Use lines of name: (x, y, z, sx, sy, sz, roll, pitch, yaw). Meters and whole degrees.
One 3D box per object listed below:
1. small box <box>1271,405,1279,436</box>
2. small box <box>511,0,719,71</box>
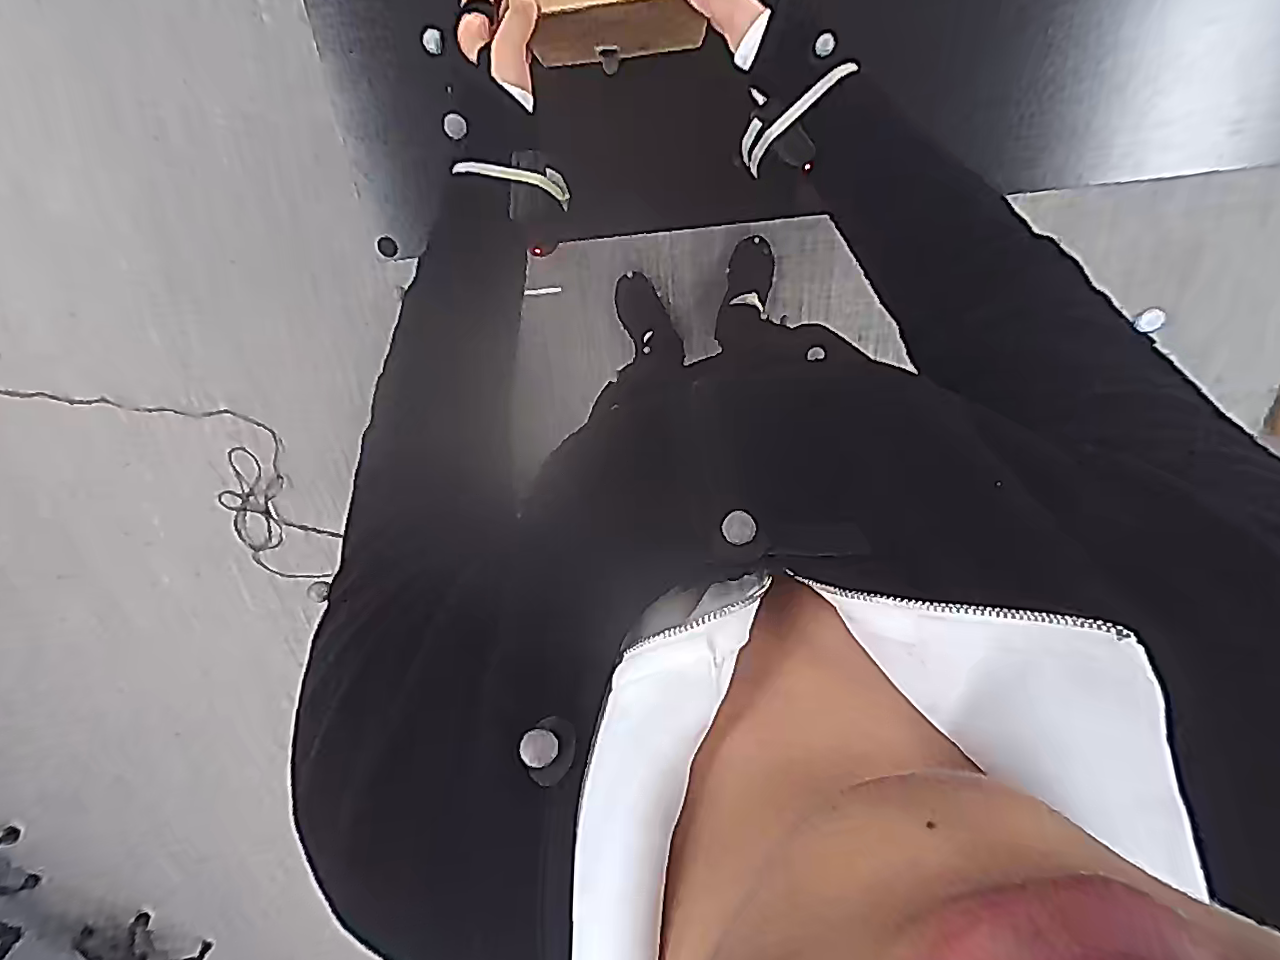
small box: (1.789, -0.173, 1.370, 0.168, 0.176, 0.179, -7, 116, 4)
small box: (-0.026, -0.479, 0.453, 0.168, 0.176, 0.179, -6, 116, 5)
